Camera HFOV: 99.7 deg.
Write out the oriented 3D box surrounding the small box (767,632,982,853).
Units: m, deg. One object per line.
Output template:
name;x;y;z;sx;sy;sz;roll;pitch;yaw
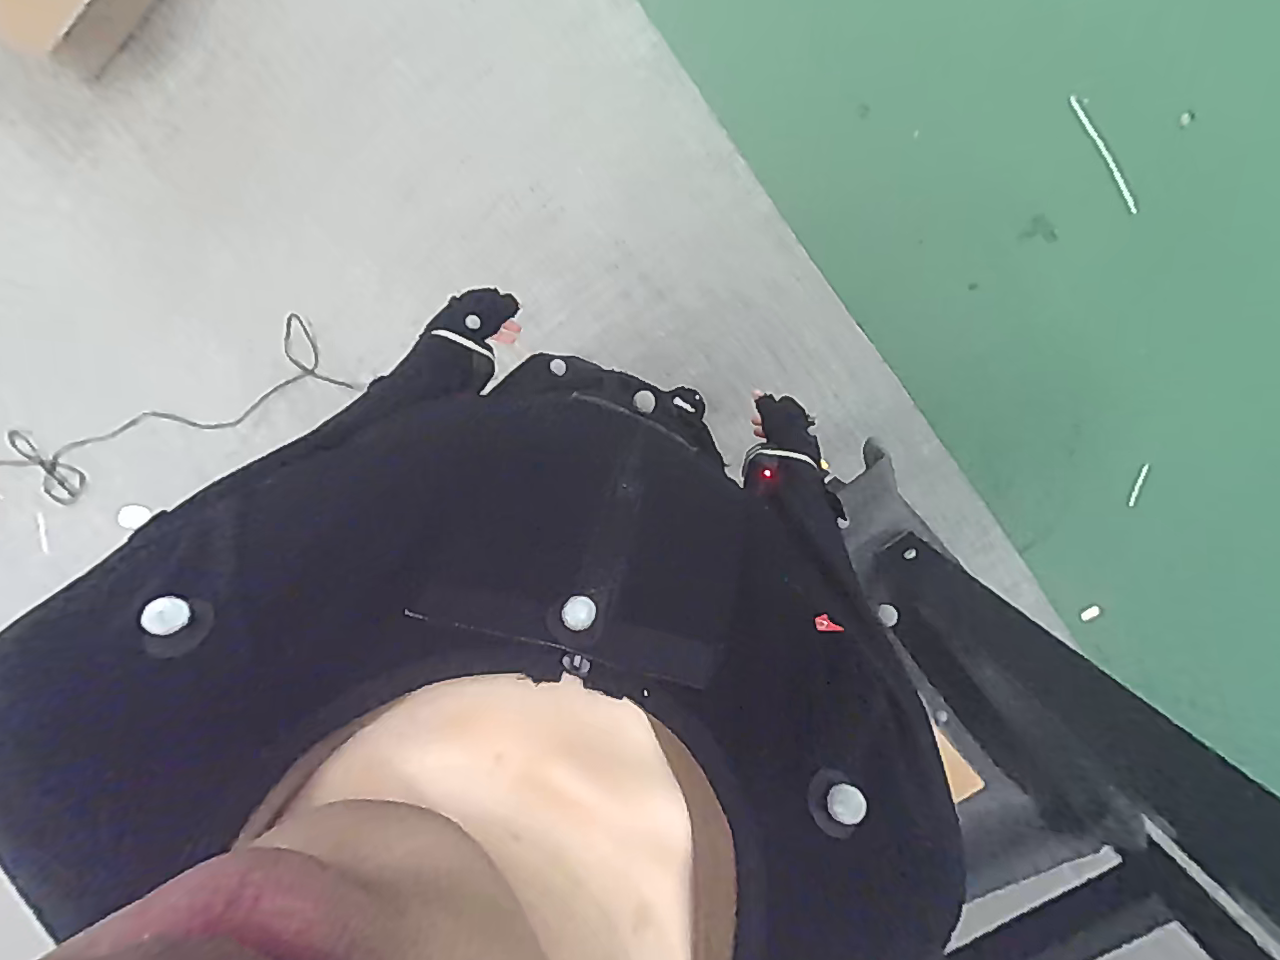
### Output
small box;0.291;0.328;0.716;0.168;0.176;0.179;-39;99;10
